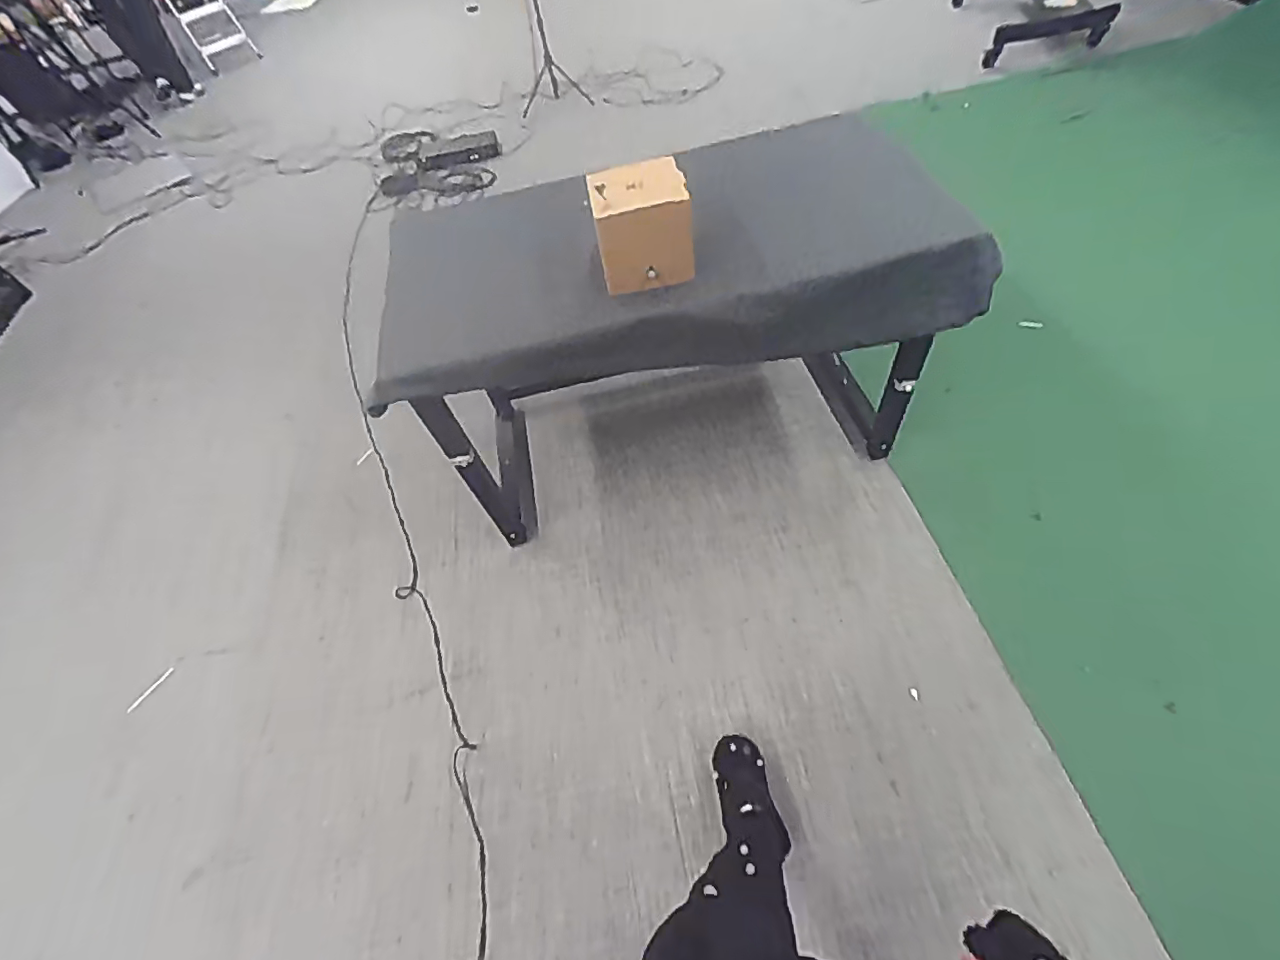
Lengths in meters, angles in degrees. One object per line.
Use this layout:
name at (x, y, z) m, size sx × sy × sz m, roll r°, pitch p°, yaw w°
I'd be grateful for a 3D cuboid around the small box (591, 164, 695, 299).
small box at (0.009, -0.487, 1.069) m, size 0.179 × 0.176 × 0.168 m, roll -11°, pitch 54°, yaw 1°
